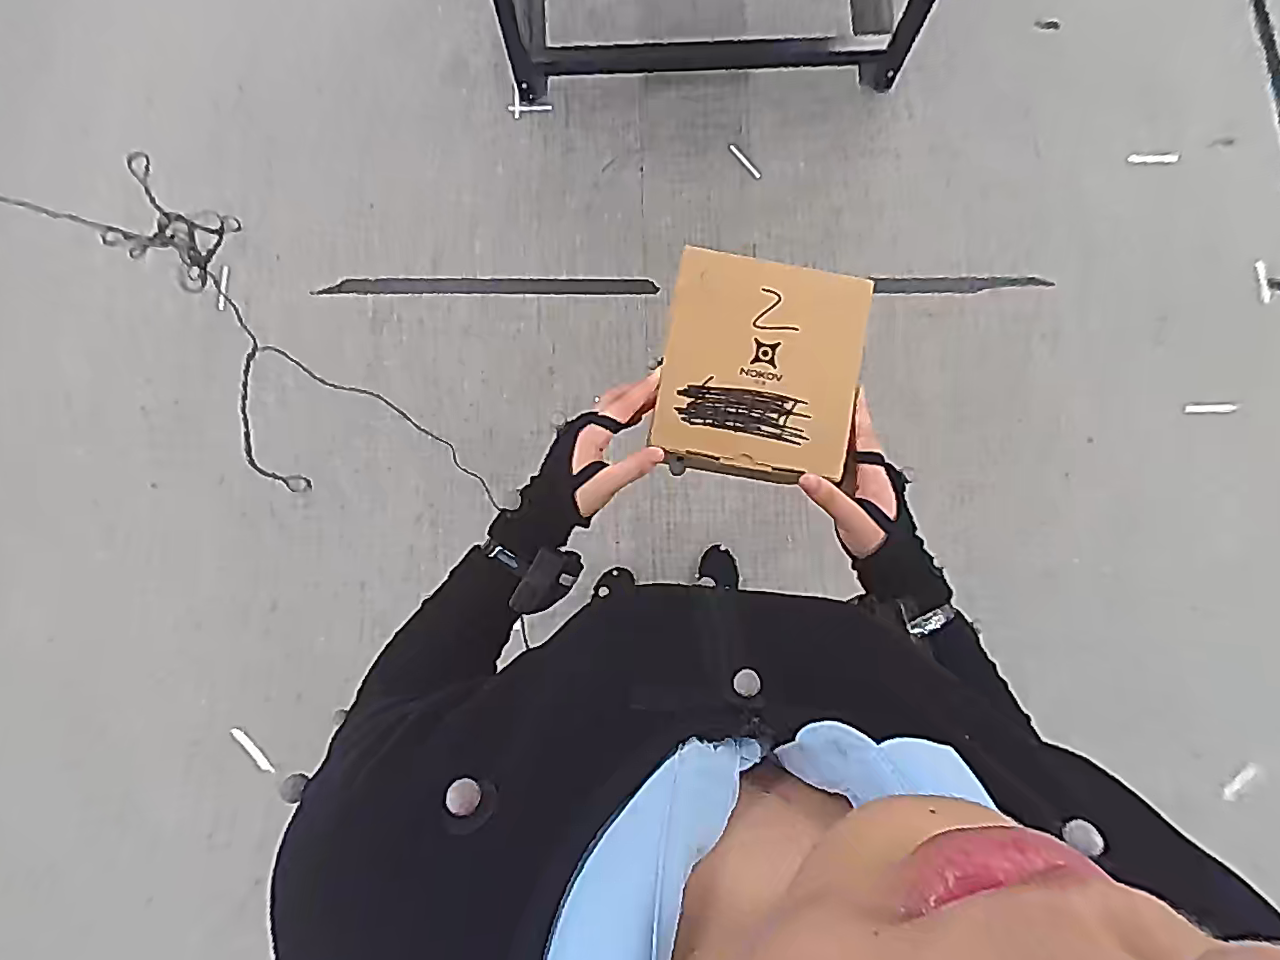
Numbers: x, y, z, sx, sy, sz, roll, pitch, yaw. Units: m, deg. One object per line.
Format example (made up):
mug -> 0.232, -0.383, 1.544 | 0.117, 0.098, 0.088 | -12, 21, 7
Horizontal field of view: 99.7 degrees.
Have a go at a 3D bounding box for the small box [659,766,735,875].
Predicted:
small box -> 0.135, 0.826, 1.329 | 0.168, 0.176, 0.179 | 3, 82, 1

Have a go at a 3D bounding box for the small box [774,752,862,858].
small box -> 0.432, 0.797, 1.336 | 0.168, 0.176, 0.179 | 0, 81, 0
